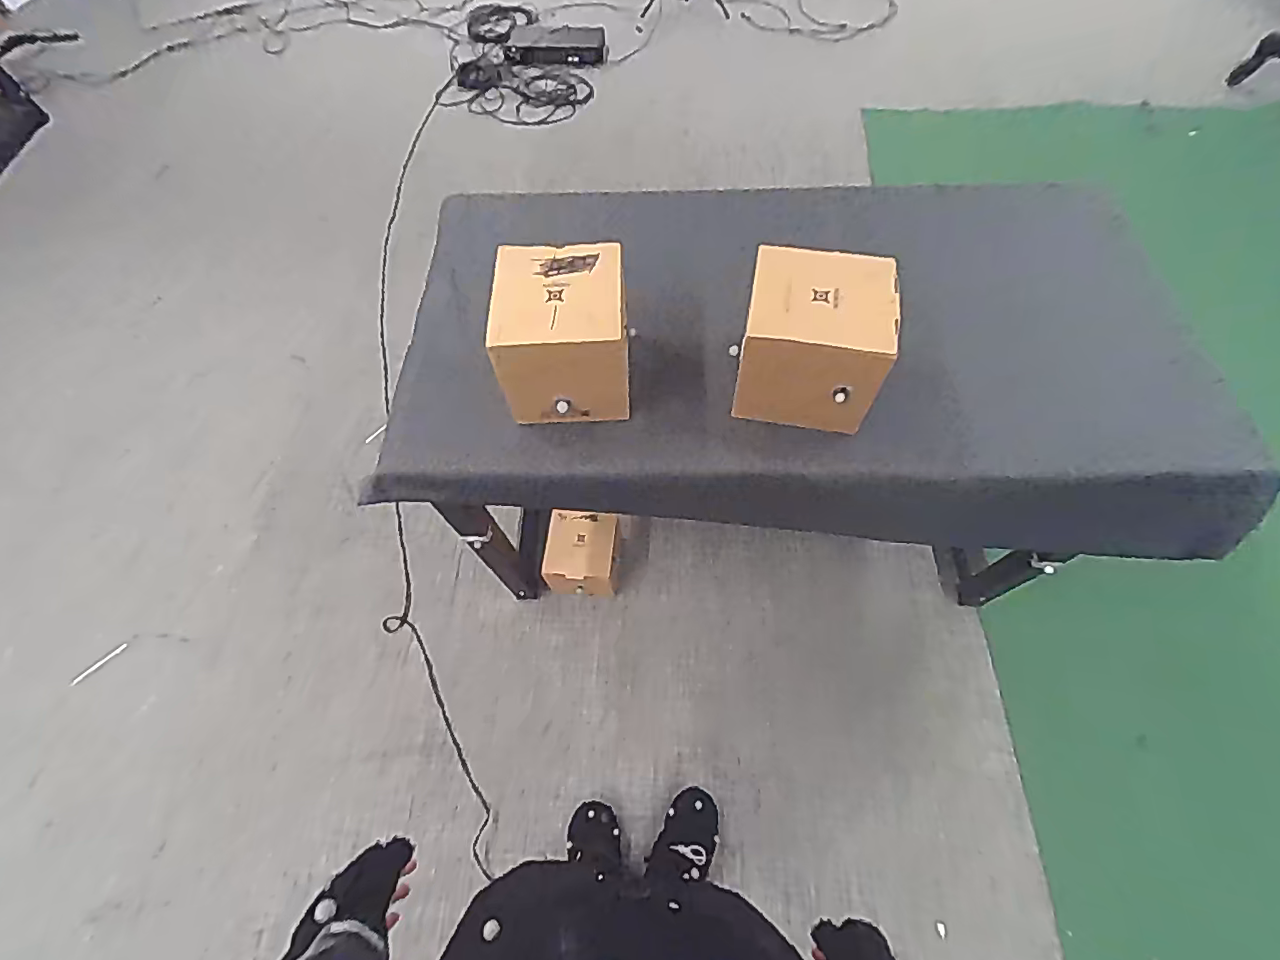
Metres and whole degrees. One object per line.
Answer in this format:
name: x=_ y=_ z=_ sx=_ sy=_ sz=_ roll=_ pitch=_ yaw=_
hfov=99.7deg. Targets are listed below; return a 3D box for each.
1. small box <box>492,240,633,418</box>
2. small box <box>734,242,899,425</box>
small box: x=-0.097 y=-0.206 z=0.755 sx=0.168 sy=0.176 sz=0.179 roll=-3 pitch=62 yaw=1
small box: x=0.232 y=-0.193 z=0.738 sx=0.179 sy=0.176 sz=0.168 roll=8 pitch=62 yaw=8
